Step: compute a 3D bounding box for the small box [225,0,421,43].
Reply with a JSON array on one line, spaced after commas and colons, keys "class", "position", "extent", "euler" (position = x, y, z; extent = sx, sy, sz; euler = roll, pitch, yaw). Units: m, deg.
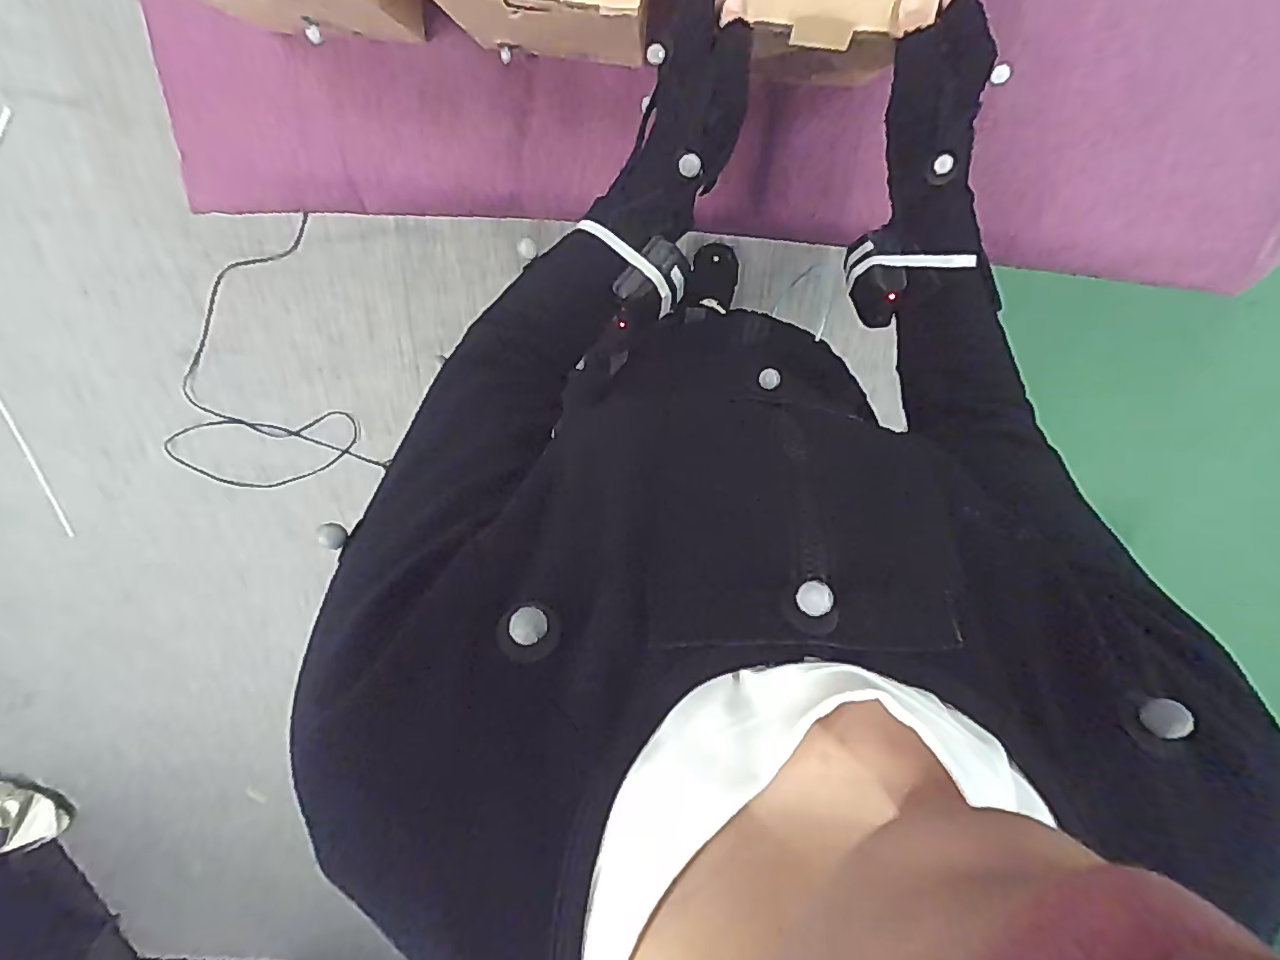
[{"class": "small box", "position": [-0.293, -0.491, 0.434], "extent": [0.168, 0.176, 0.179], "euler": [5, 116, -1]}]

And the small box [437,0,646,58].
[{"class": "small box", "position": [-0.073, -0.473, 0.439], "extent": [0.168, 0.176, 0.179], "euler": [5, 116, -2]}]
